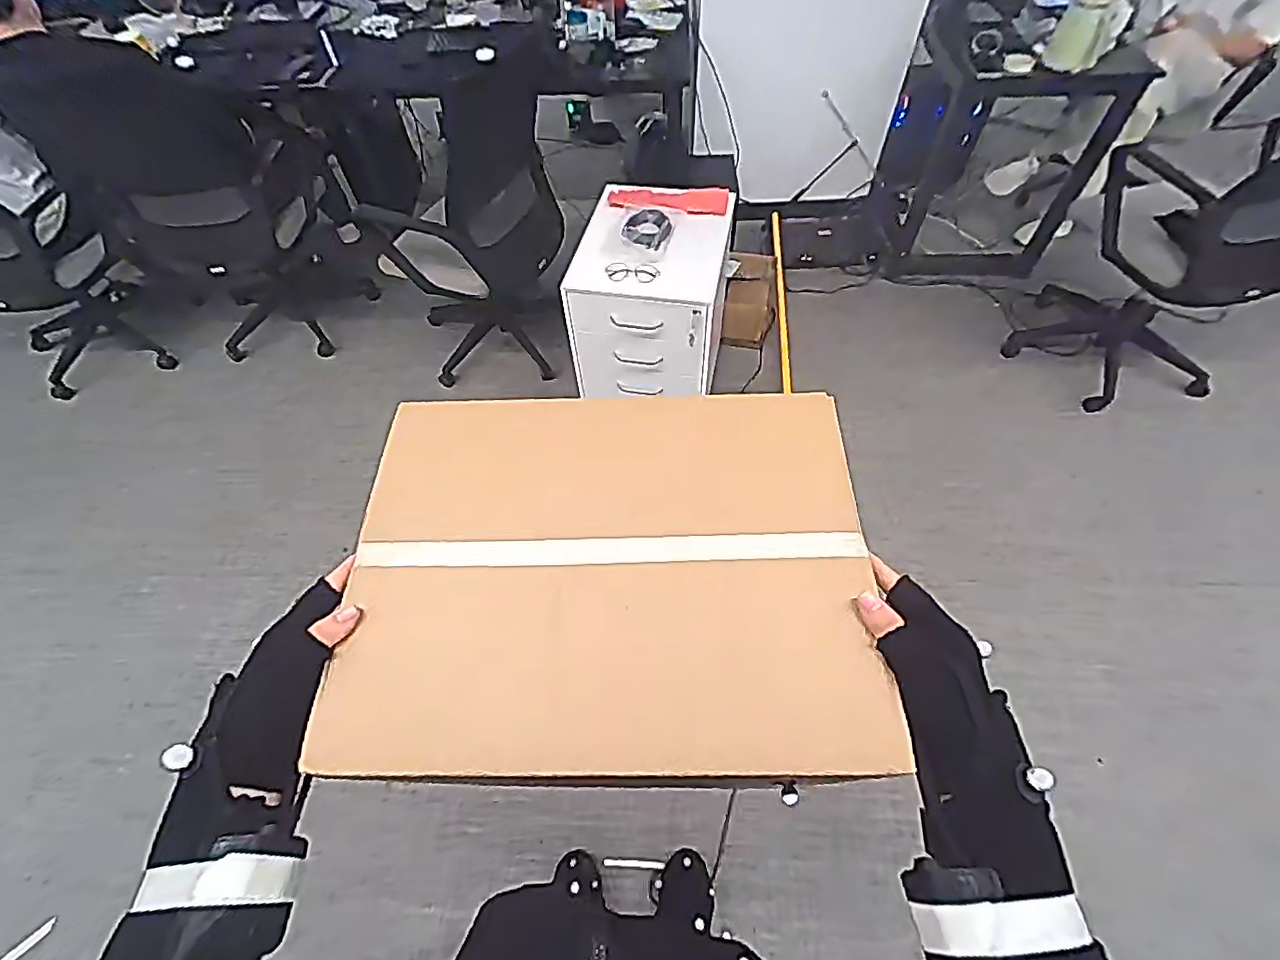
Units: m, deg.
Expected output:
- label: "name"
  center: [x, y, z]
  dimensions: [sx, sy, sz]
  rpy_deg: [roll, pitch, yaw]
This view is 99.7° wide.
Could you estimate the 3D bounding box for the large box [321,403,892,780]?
- label: "large box"
  center: [-0.019, 0.139, 0.572]
  dimensions: [0.408, 0.320, 0.320]
  rpy_deg: [-1, 59, 2]
